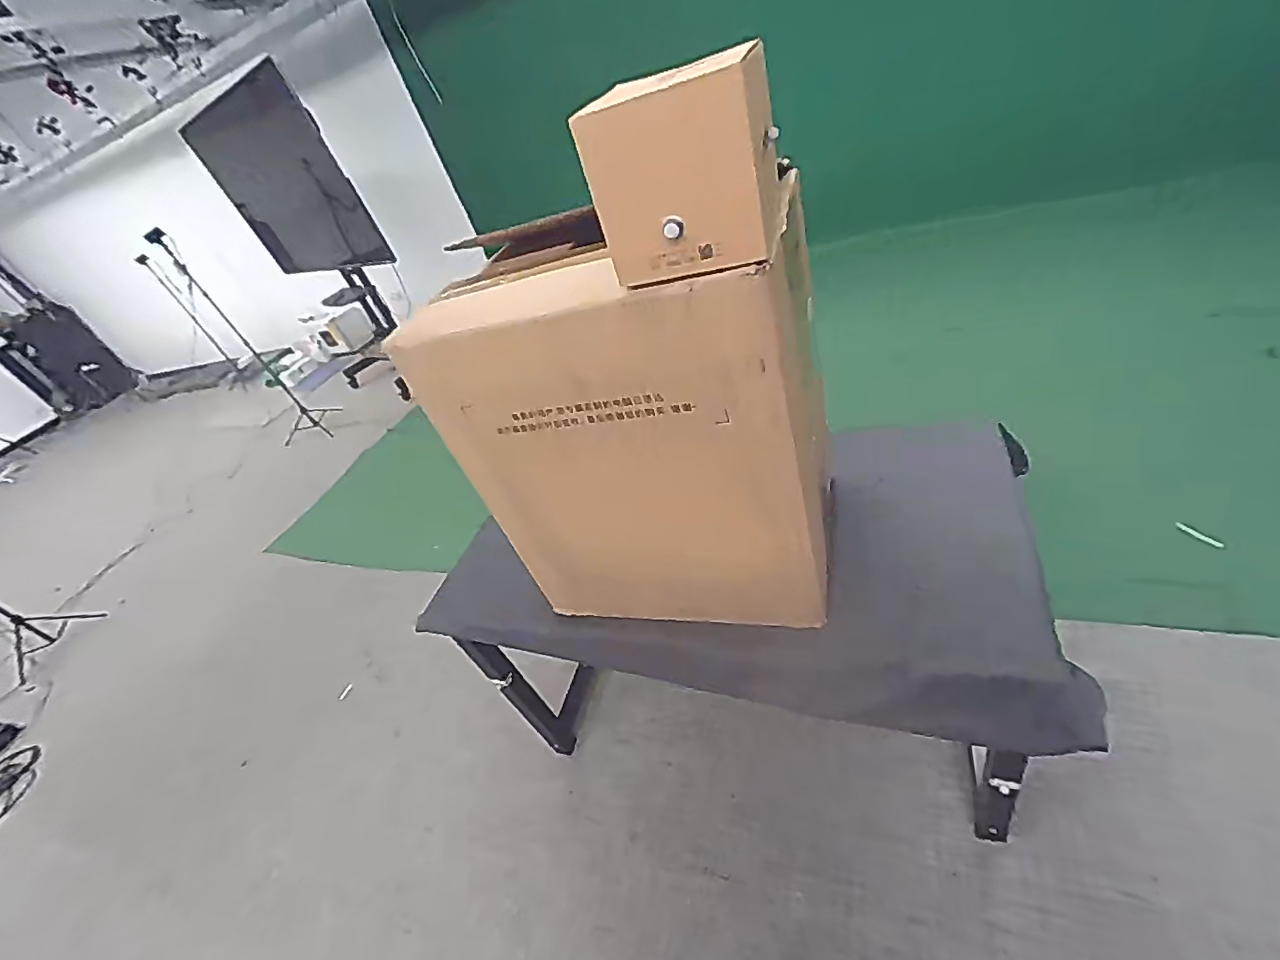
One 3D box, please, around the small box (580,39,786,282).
[{"bbox_3d":[0.061,-0.336,0.581,0.168,0.176,0.179,-2,43,22],"label":"small box"}]
